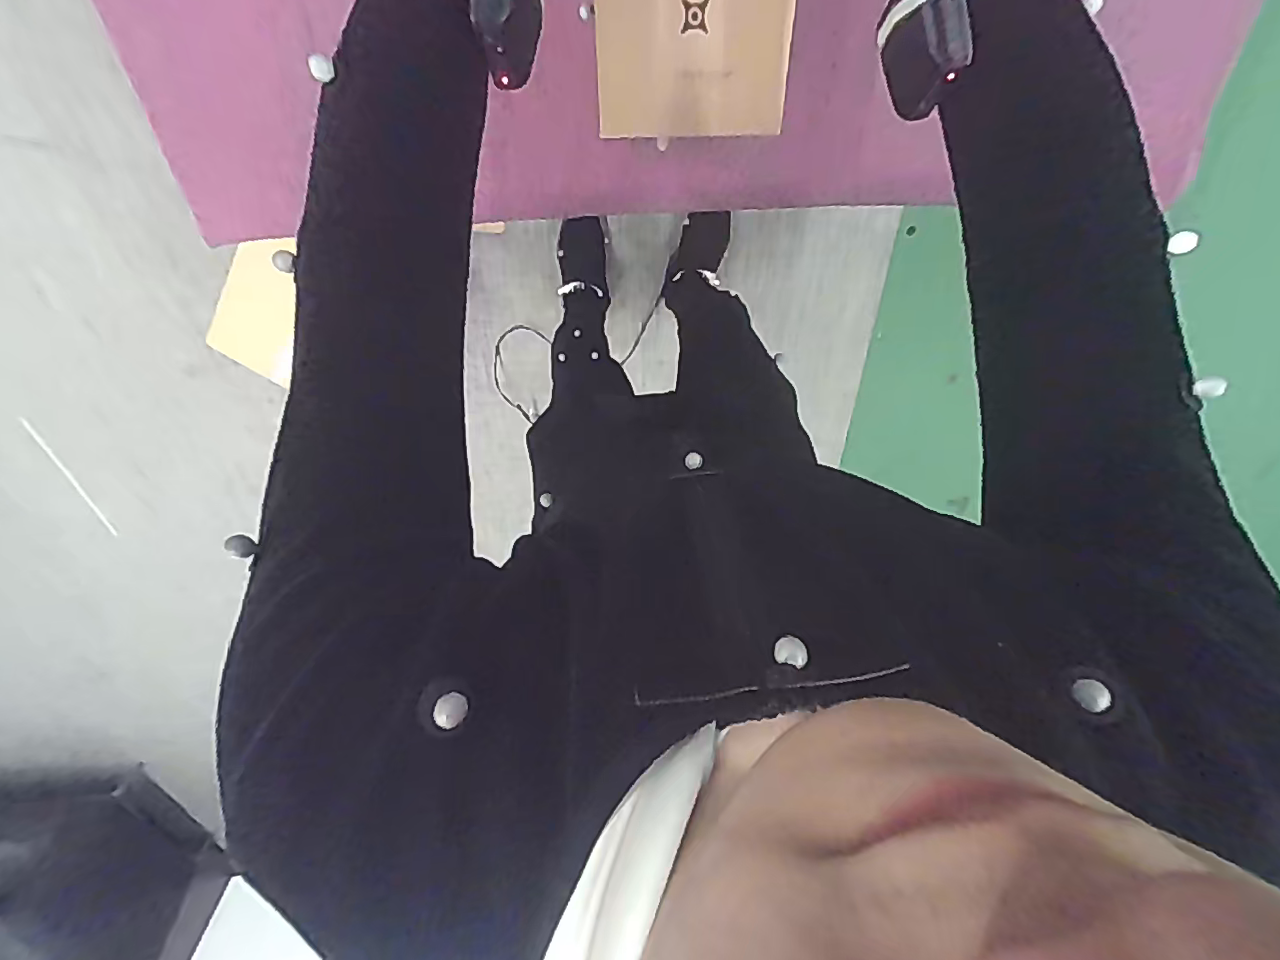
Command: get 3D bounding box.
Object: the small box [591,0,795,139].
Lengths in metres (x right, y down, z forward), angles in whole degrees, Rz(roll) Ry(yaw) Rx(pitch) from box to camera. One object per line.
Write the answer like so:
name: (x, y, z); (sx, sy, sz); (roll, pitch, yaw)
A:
small box: (0.041, -0.420, 0.498); (0.168, 0.176, 0.179); (0, 125, 0)
